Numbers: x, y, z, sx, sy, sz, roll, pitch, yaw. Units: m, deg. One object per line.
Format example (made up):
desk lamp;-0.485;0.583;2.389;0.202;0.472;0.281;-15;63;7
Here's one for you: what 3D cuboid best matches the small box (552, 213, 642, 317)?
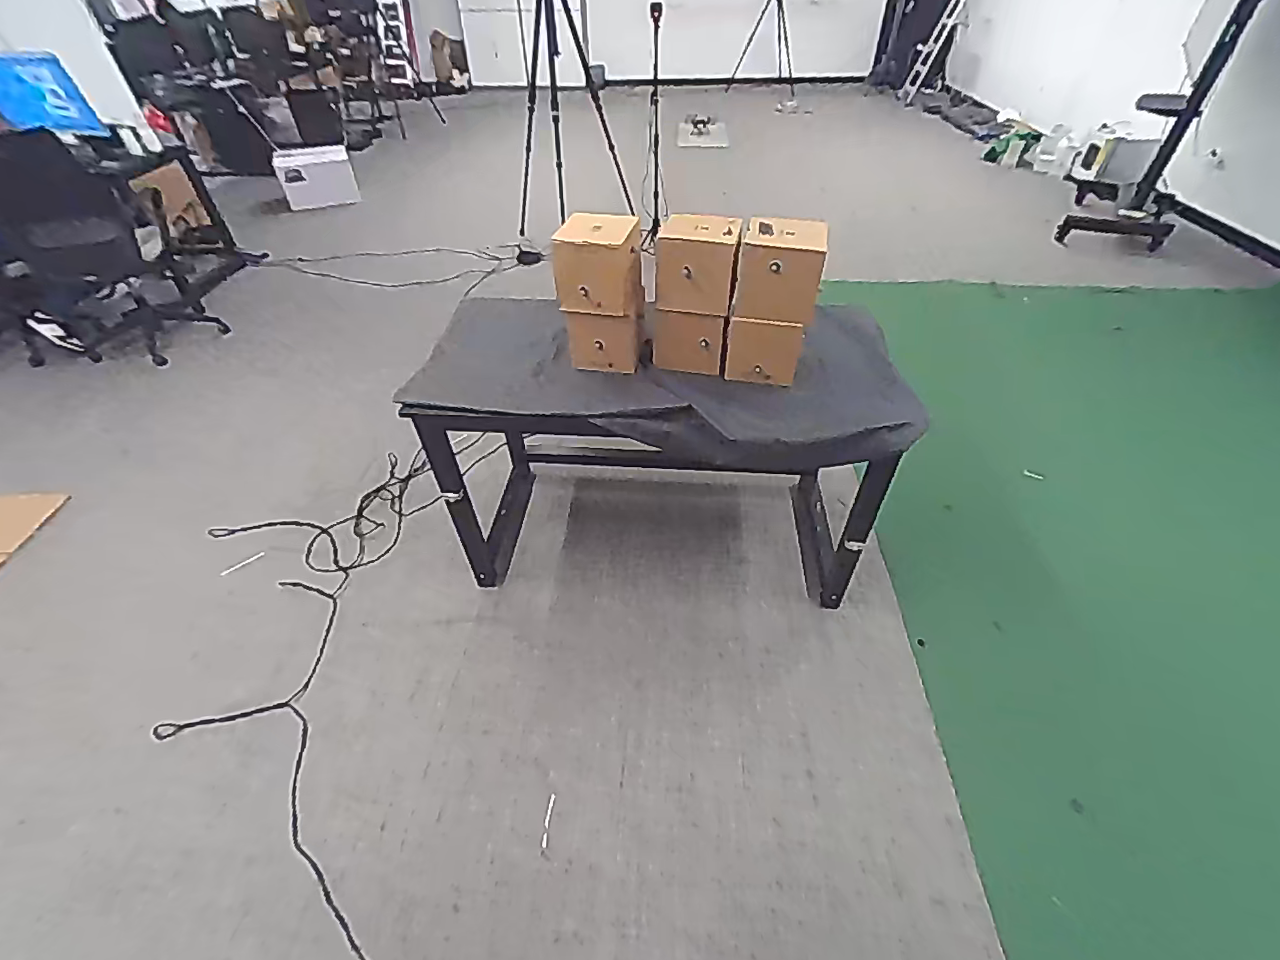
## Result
small box;-0.095;-0.512;1.286;0.168;0.176;0.179;8;47;11
